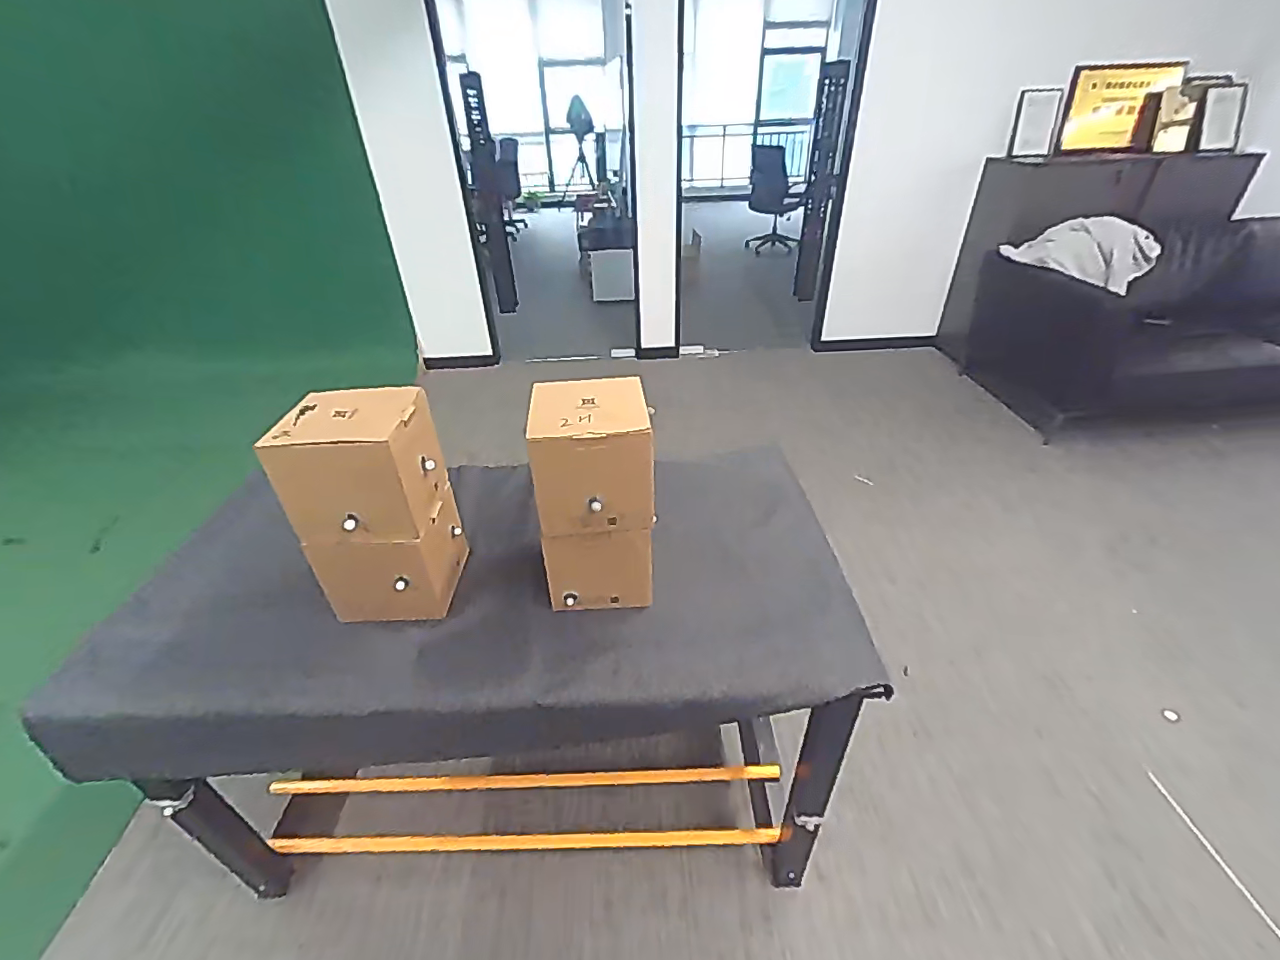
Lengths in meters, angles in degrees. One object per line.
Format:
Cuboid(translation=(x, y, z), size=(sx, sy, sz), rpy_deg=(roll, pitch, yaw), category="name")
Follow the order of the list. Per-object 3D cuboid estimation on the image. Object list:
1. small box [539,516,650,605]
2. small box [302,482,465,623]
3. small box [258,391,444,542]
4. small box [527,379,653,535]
Cuboid(translation=(-0.069, 0.098, 0.912), size=(0.168, 0.176, 0.179), rpy_deg=(-2, 33, -2), category="small box")
Cuboid(translation=(-0.406, 0.119, 0.895), size=(0.179, 0.176, 0.168), rpy_deg=(-2, 33, 0), category="small box")
Cuboid(translation=(-0.411, -0.022, 0.810), size=(0.179, 0.176, 0.168), rpy_deg=(-2, 33, -2), category="small box")
Cuboid(translation=(-0.072, -0.038, 0.817), size=(0.168, 0.176, 0.179), rpy_deg=(-5, 34, -4), category="small box")
